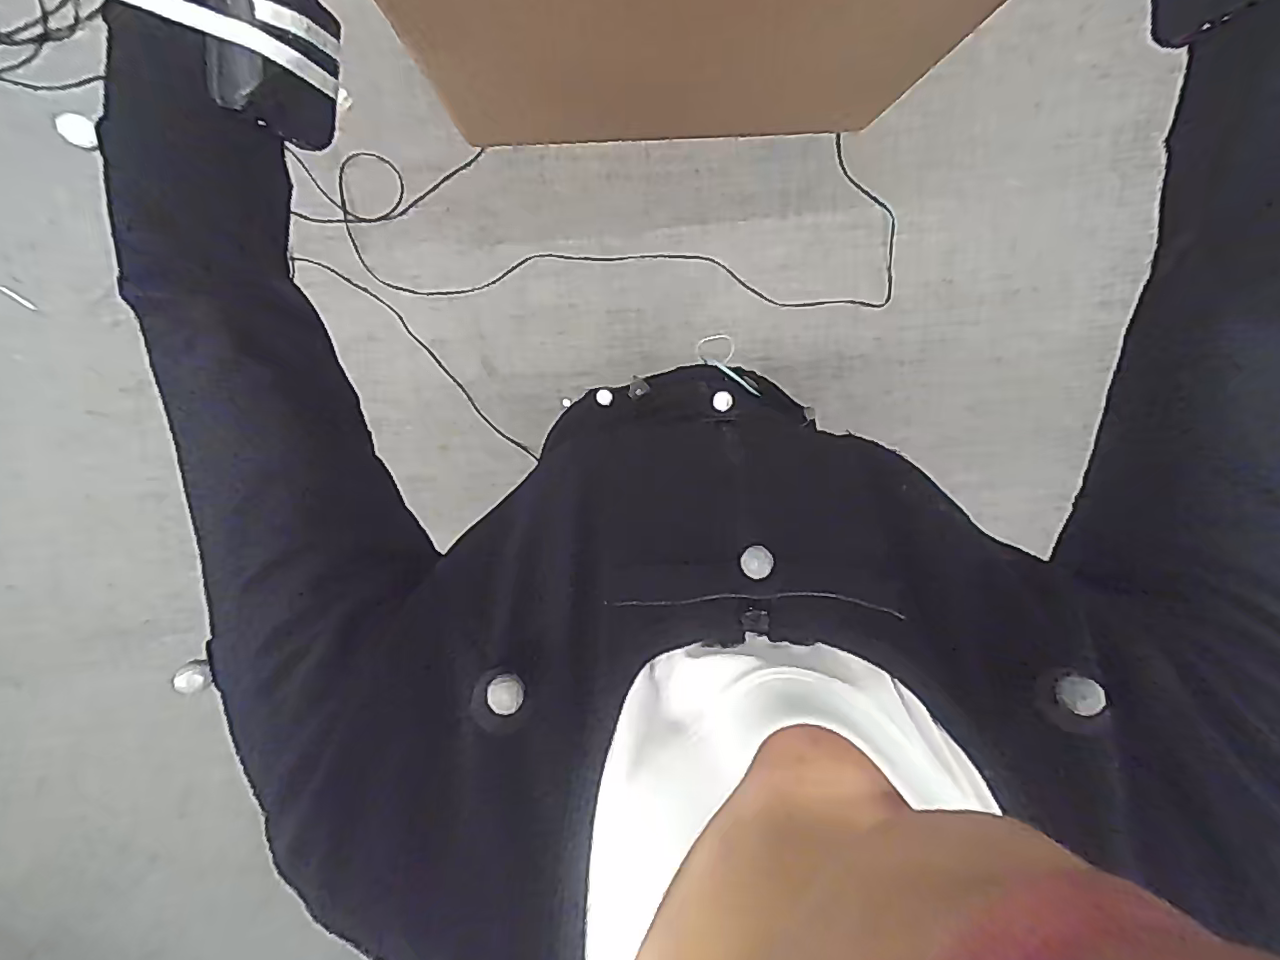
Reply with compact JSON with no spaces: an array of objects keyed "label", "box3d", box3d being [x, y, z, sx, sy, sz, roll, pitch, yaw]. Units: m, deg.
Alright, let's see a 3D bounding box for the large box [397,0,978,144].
[{"label":"large box","box3d":[0.027,-0.468,0.371,0.408,0.320,0.320,-5,102,-4]}]
